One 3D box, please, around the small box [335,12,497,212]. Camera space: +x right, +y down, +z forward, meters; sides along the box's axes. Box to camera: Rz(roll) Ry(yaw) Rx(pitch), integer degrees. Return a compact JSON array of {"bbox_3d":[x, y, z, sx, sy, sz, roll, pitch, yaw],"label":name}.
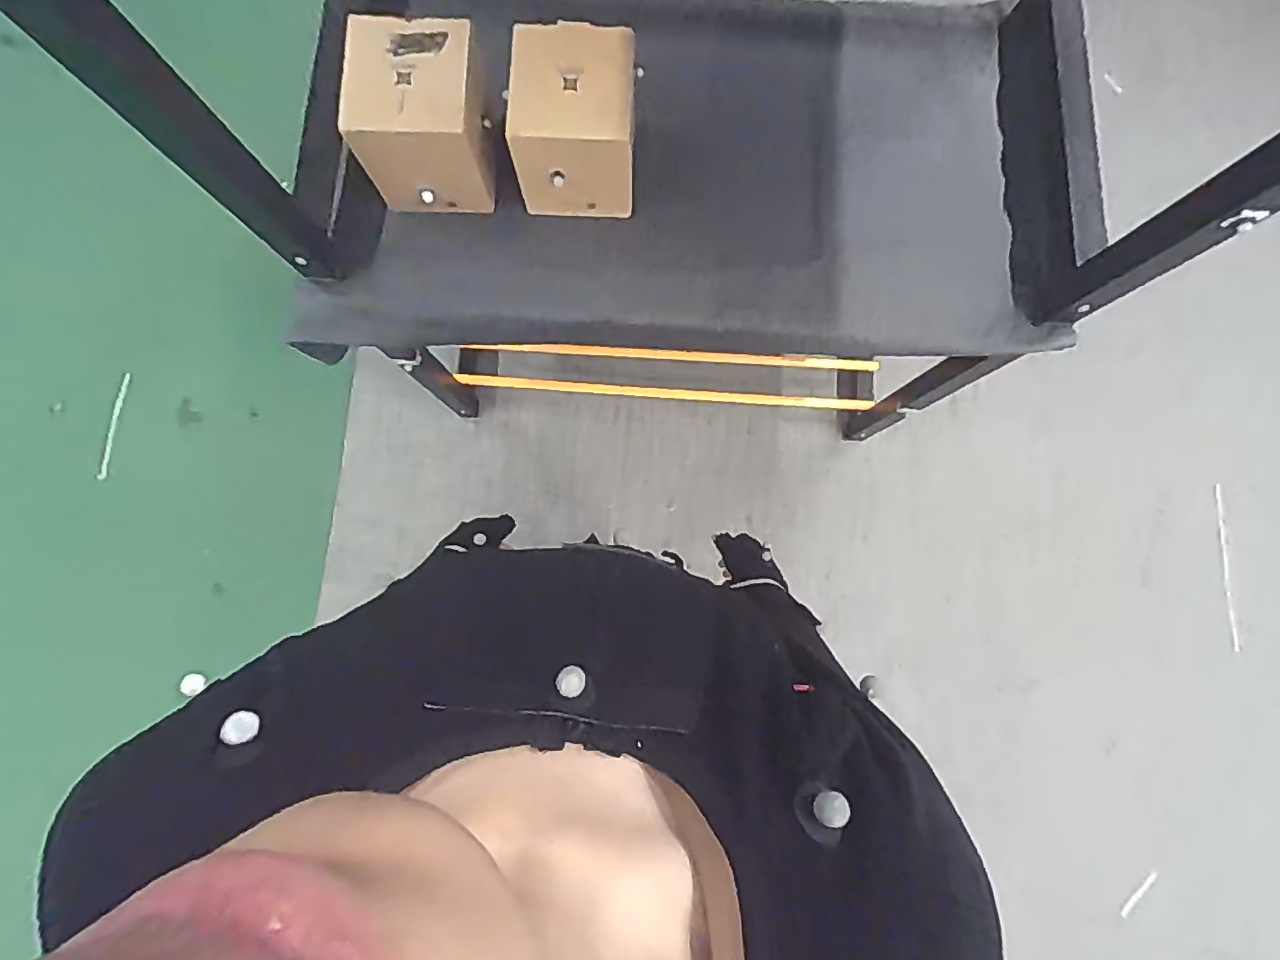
[{"bbox_3d":[-0.313,-0.527,0.792,0.168,0.176,0.179,1,82,-1],"label":"small box"}]
